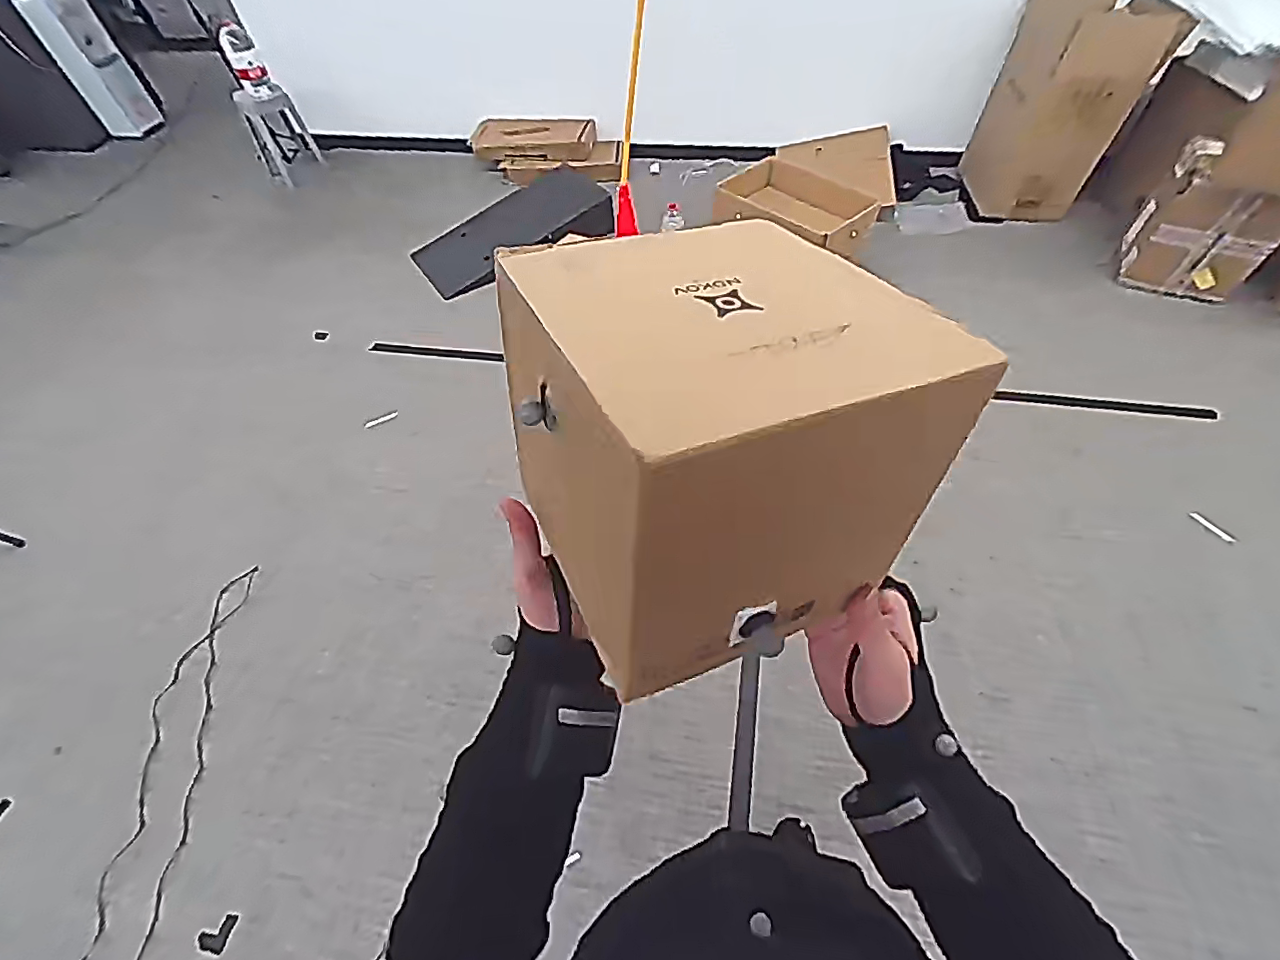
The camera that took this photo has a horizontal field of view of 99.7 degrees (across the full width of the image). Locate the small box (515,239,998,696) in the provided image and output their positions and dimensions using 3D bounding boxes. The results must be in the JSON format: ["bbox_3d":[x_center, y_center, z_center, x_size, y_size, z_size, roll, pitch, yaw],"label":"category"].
[{"bbox_3d":[0.038,-0.016,0.308,0.168,0.176,0.179,-18,47,-21],"label":"small box"}]
